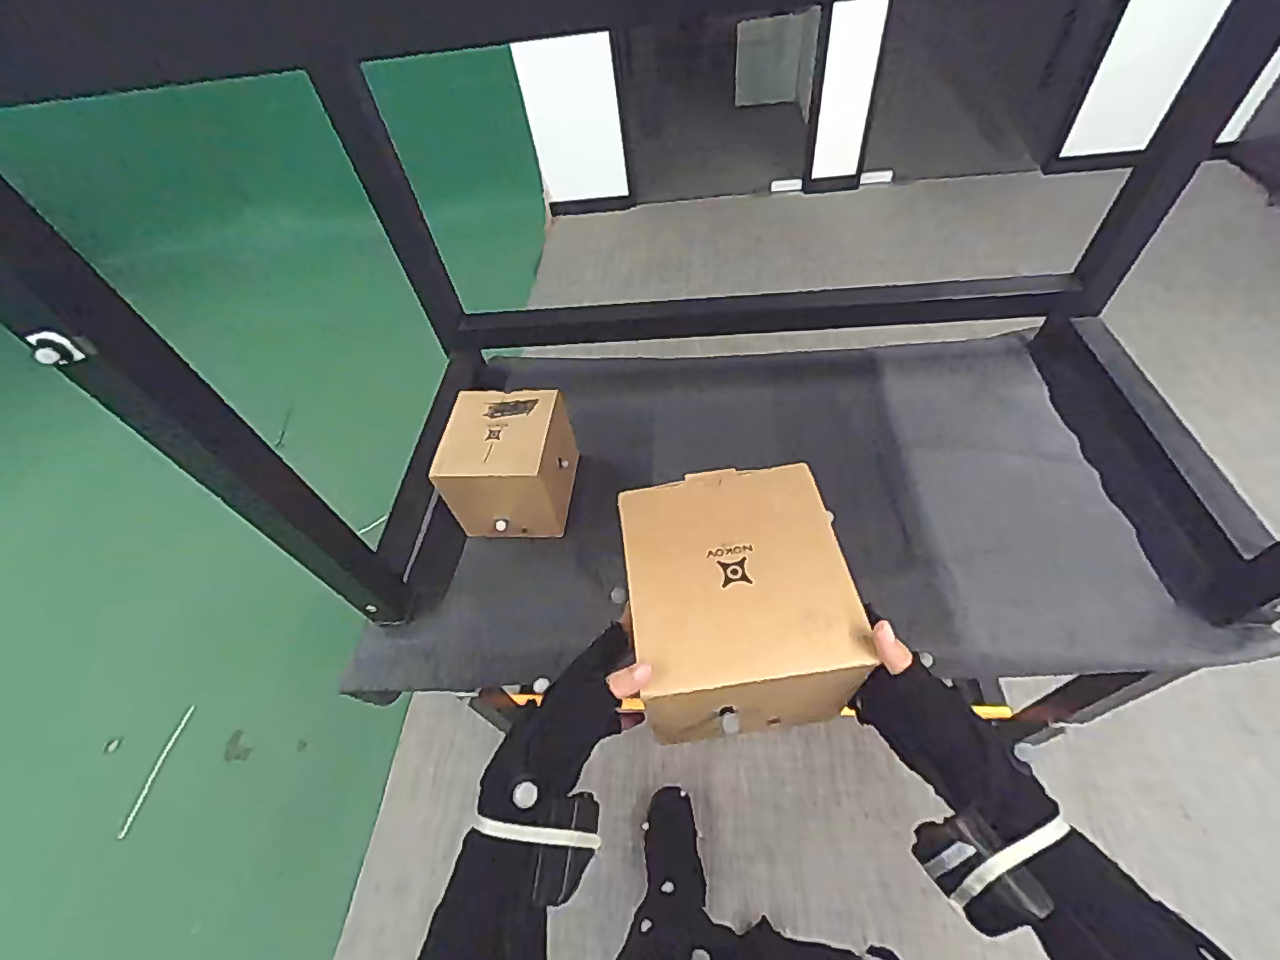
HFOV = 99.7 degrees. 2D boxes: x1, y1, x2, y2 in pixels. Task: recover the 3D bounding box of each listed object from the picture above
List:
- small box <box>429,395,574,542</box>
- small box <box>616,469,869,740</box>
[{"bbox_3d":[-0.209,-0.018,0.876,0.168,0.176,0.179,0,53,7],"label":"small box"},{"bbox_3d":[0.077,0.119,0.481,0.168,0.176,0.179,-9,53,1],"label":"small box"}]
